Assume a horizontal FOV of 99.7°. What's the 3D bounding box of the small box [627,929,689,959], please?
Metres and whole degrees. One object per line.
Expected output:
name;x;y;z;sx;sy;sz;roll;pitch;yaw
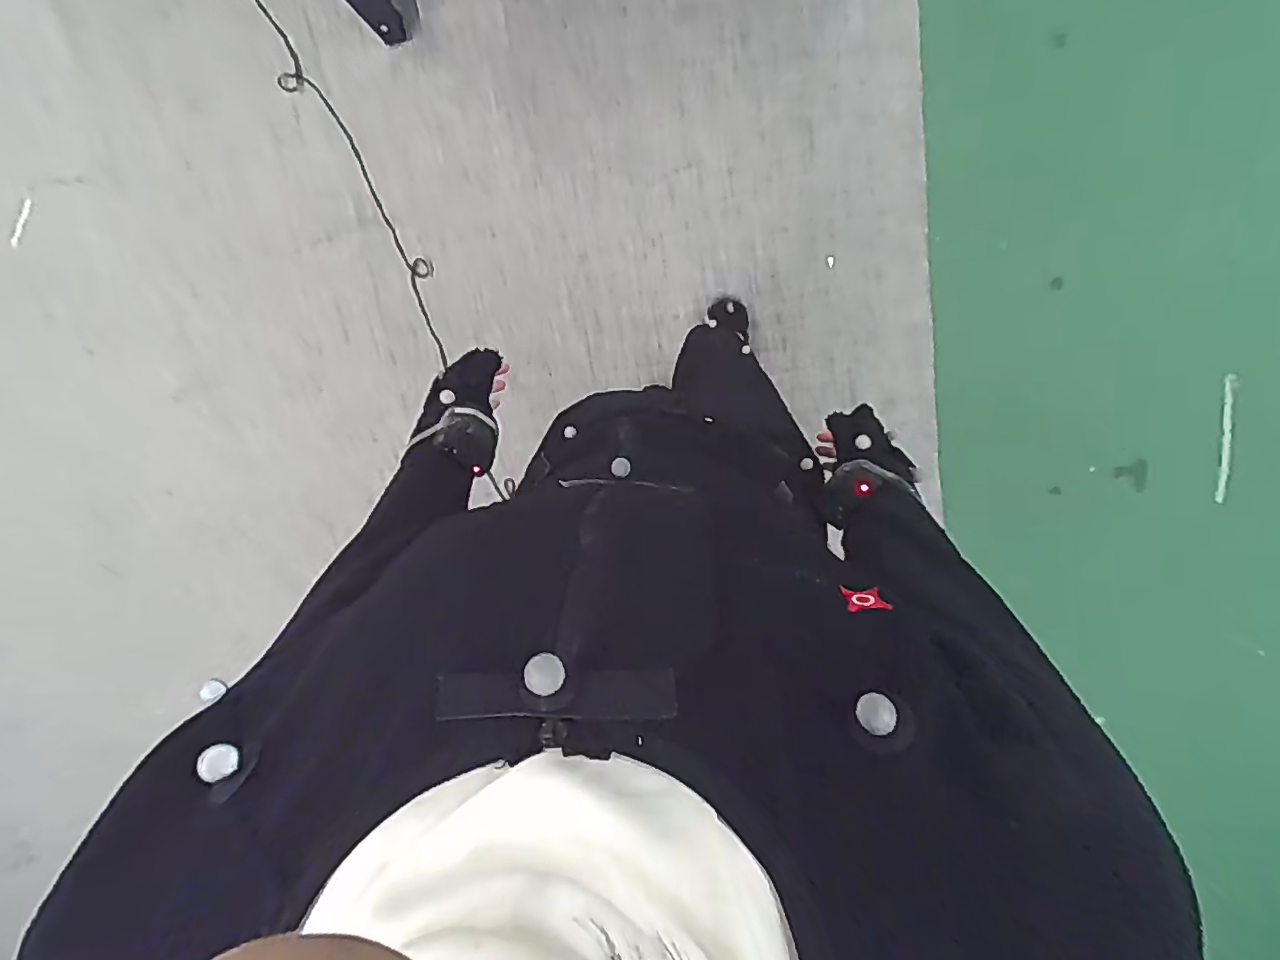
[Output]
small box;0.056;1.407;1.510;0.168;0.176;0.179;-8;101;5

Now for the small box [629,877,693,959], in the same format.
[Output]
small box;0.067;1.363;1.666;0.179;0.176;0.168;-6;102;7
